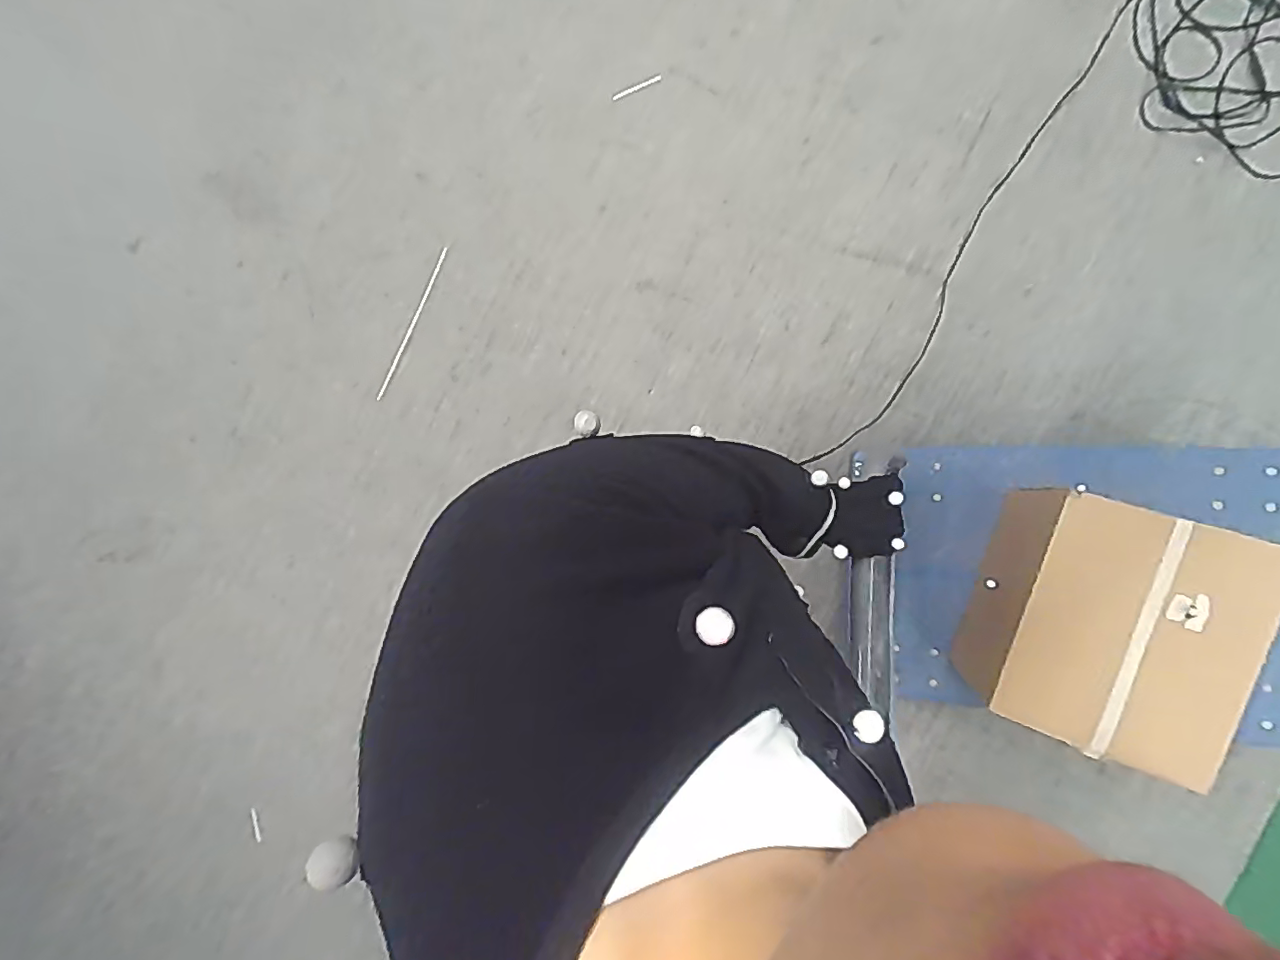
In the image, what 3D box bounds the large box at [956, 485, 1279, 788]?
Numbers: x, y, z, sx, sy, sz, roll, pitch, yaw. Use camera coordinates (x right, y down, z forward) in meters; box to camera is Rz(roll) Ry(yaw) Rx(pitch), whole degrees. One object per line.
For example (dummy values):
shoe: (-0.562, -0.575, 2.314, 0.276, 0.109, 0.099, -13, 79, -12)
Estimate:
large box: (0.841, 0.248, 1.003, 0.320, 0.320, 0.408, 19, 94, 18)
